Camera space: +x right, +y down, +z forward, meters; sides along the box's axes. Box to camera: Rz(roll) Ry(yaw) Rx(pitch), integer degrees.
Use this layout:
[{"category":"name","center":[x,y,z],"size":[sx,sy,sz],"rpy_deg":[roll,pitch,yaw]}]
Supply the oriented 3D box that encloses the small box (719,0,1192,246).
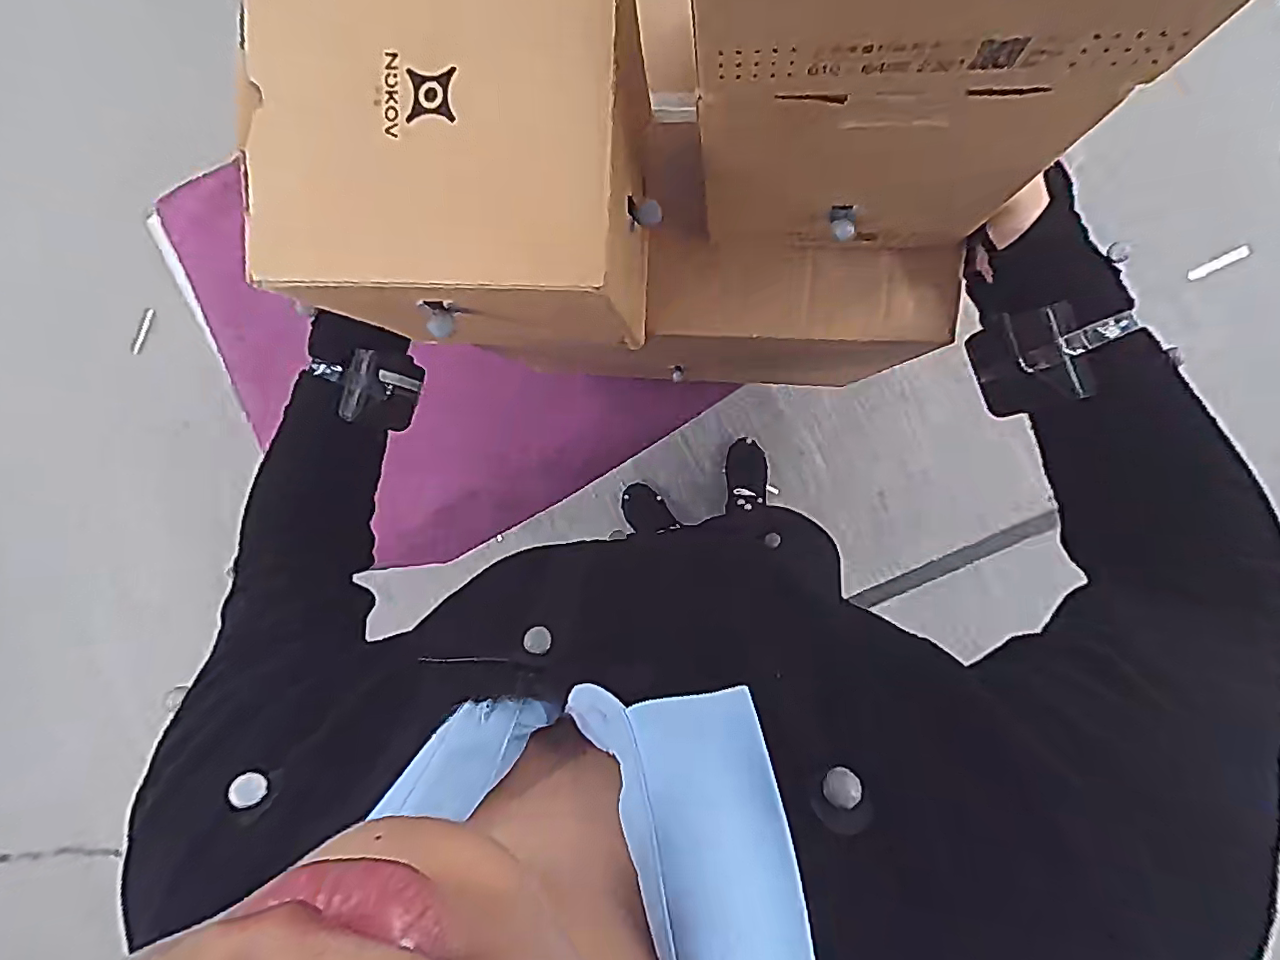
[{"category":"small box","center":[0.130,-0.242,0.275],"size":[0.168,0.176,0.179],"rpy_deg":[5,95,9]}]

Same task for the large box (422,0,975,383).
[{"category":"large box","center":[0.055,-0.267,0.532],"size":[0.408,0.320,0.320],"rpy_deg":[4,93,8]}]
